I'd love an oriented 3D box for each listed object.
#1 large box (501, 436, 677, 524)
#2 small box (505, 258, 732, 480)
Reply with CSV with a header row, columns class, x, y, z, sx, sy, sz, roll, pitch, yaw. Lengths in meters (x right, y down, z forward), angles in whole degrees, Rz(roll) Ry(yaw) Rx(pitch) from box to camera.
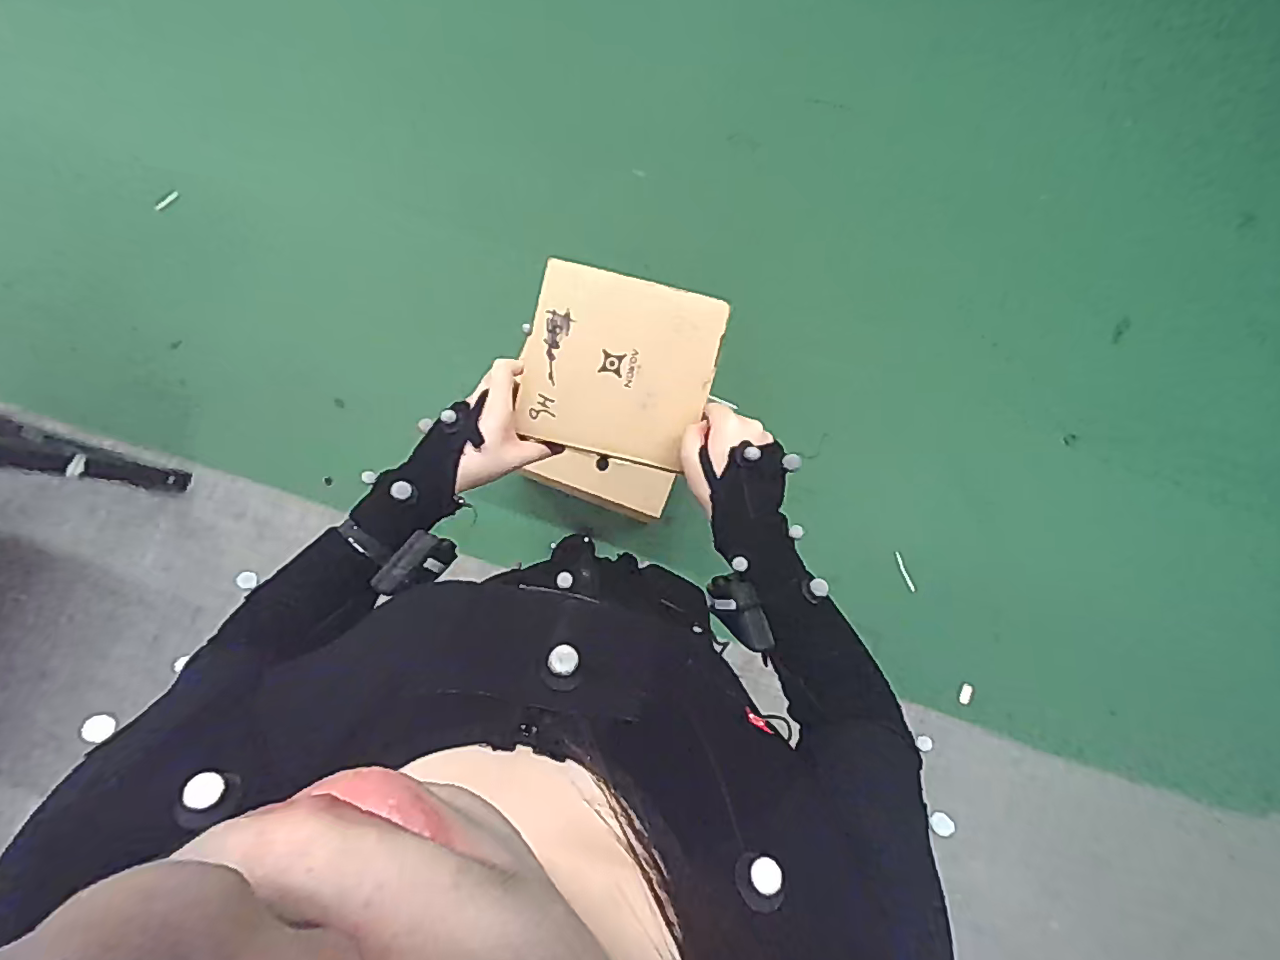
class,x,y,z,sx,sy,sz,roll,pitch,yaw
large box,-0.093,-0.098,1.397,0.408,0.320,0.320,21,83,-1
small box,-0.024,-0.103,0.567,0.179,0.176,0.168,14,91,-4
